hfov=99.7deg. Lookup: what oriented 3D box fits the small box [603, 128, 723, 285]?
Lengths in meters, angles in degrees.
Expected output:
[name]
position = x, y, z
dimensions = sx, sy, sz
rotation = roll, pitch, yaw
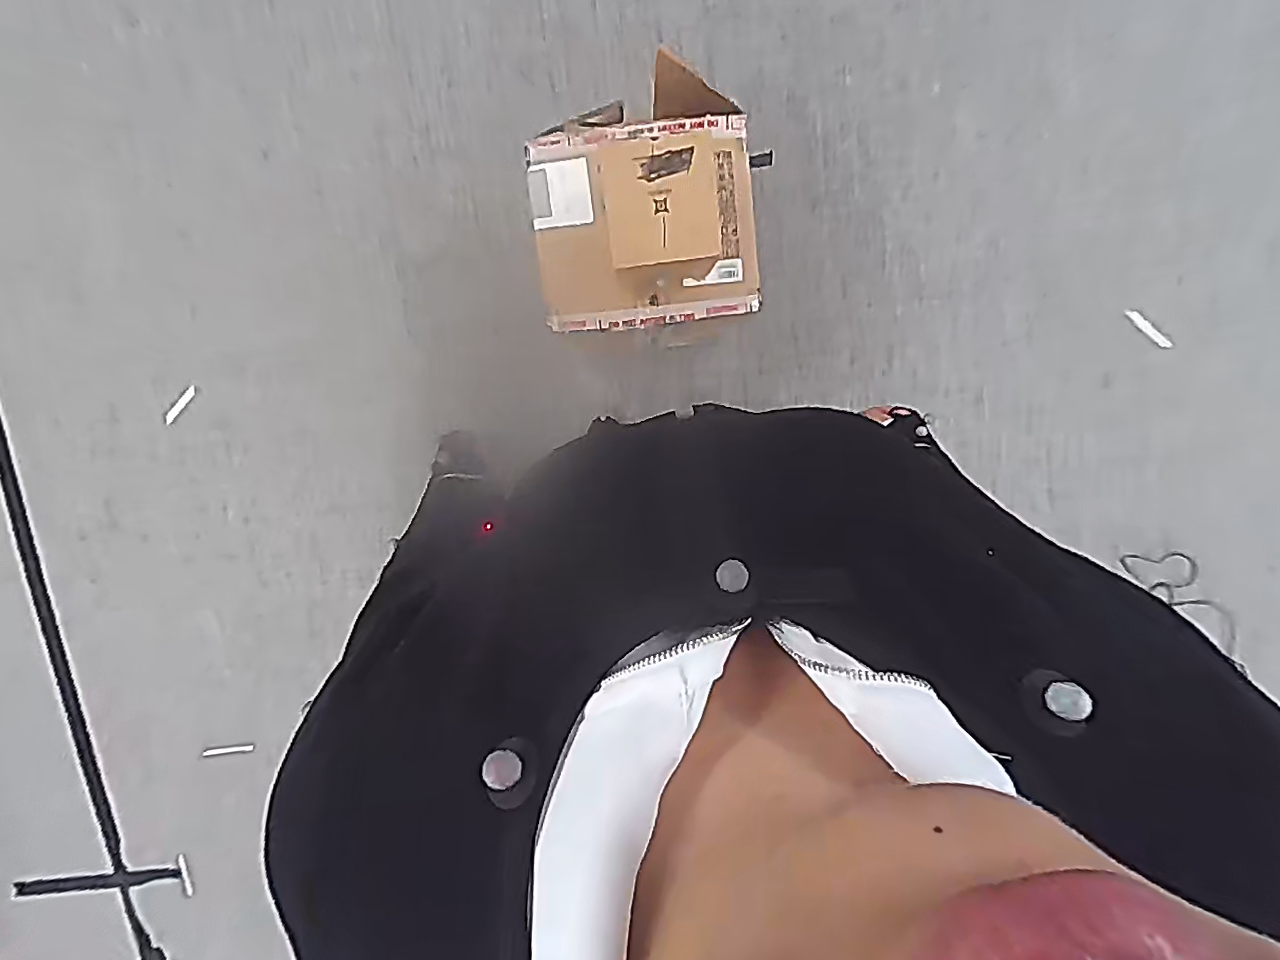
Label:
[small box]
position = 0.033, -0.425, 0.866
dimensions = 0.168, 0.176, 0.179
rotation = -7, 101, 1
